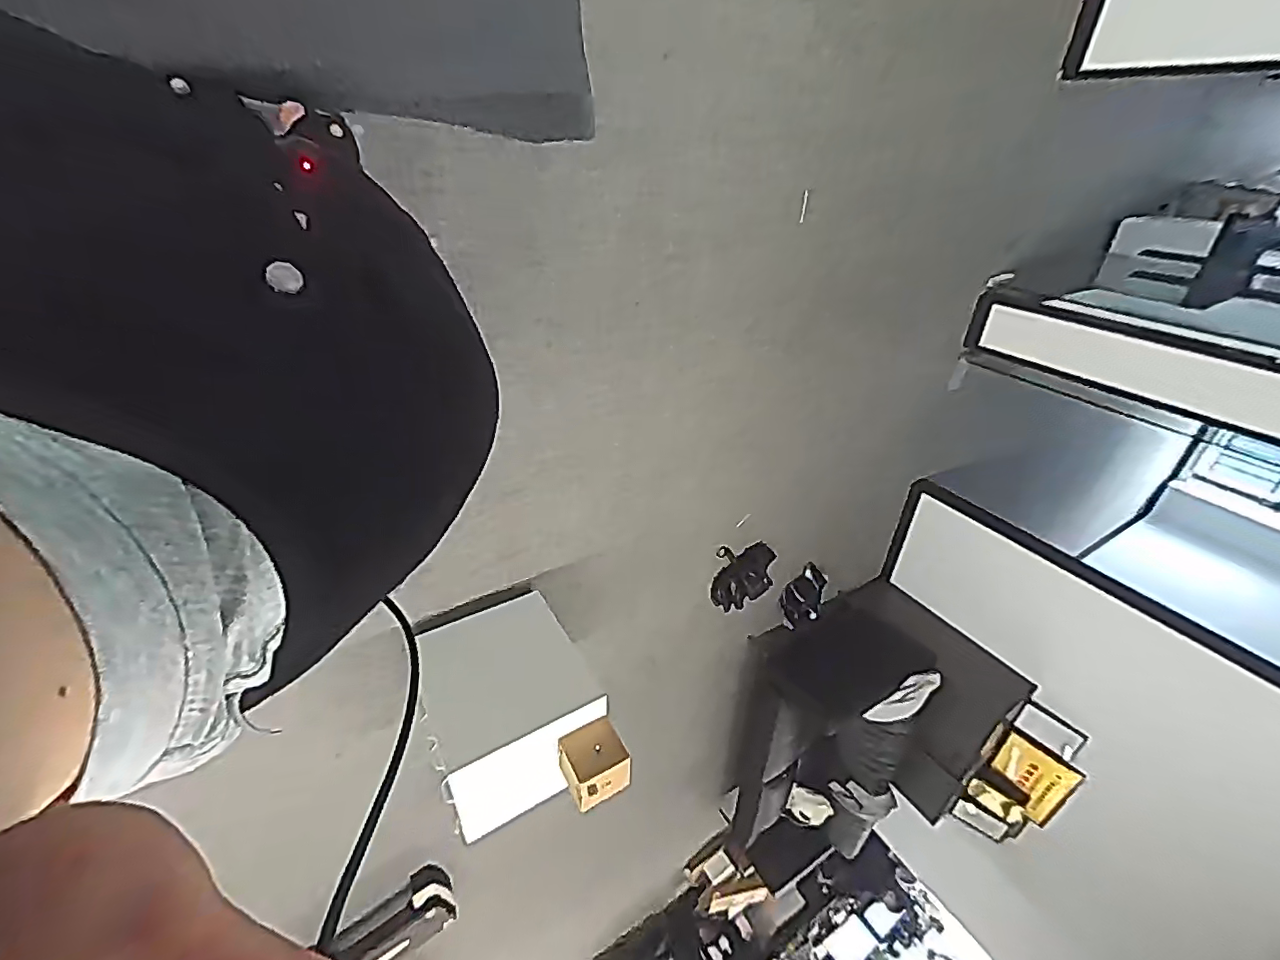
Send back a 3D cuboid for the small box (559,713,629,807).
[{"bbox_3d":[-0.154,0.892,1.737,0.179,0.176,0.168,-17,129,-28],"label":"small box"}]
